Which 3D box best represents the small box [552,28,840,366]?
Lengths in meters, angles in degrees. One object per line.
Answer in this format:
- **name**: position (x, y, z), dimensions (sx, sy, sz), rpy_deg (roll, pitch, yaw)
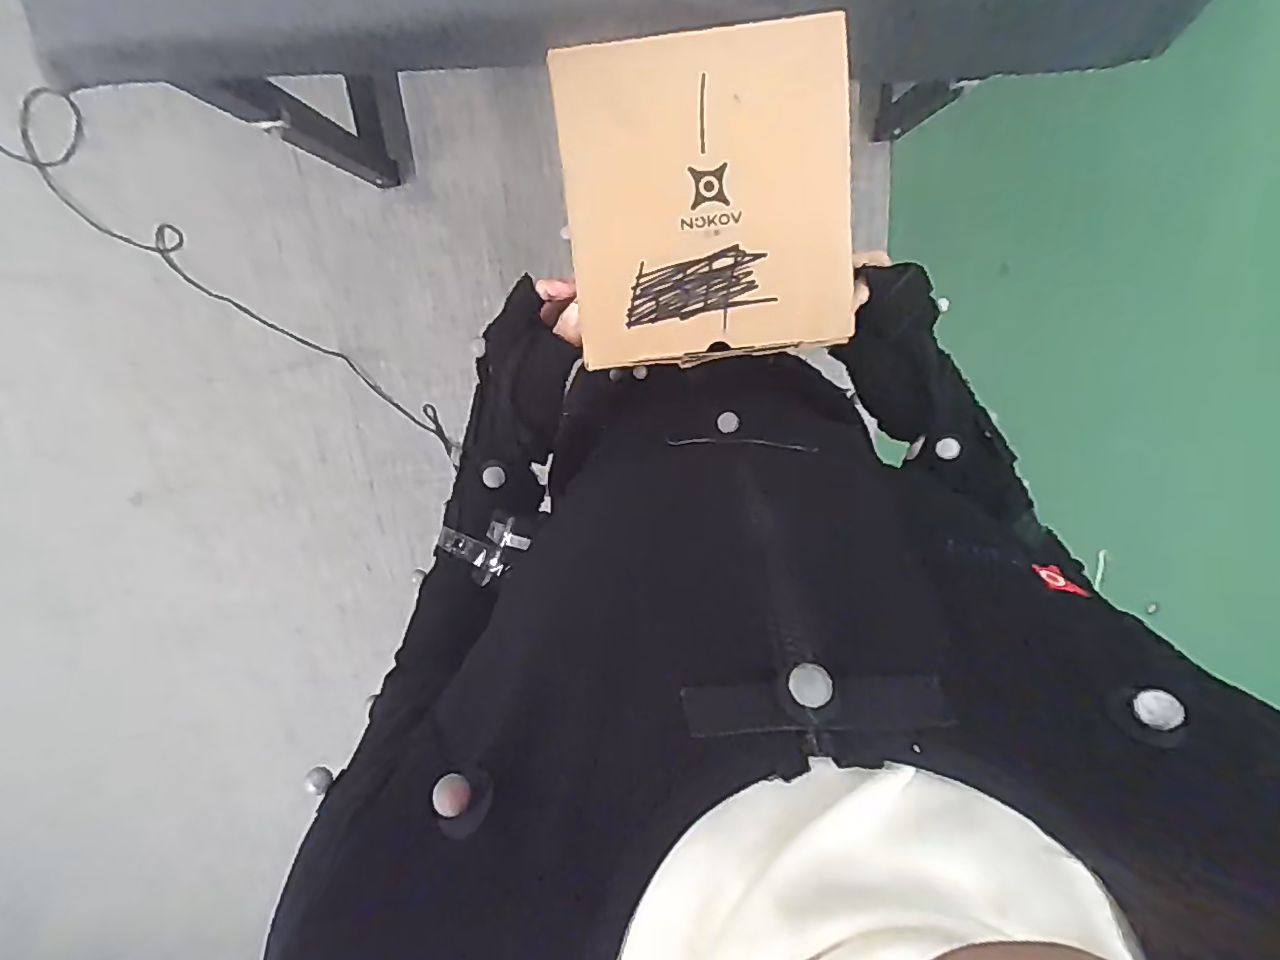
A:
- **small box**: position (0.038, -0.181, 0.401), dimensions (0.168, 0.176, 0.179), rpy_deg (-5, 102, 1)
